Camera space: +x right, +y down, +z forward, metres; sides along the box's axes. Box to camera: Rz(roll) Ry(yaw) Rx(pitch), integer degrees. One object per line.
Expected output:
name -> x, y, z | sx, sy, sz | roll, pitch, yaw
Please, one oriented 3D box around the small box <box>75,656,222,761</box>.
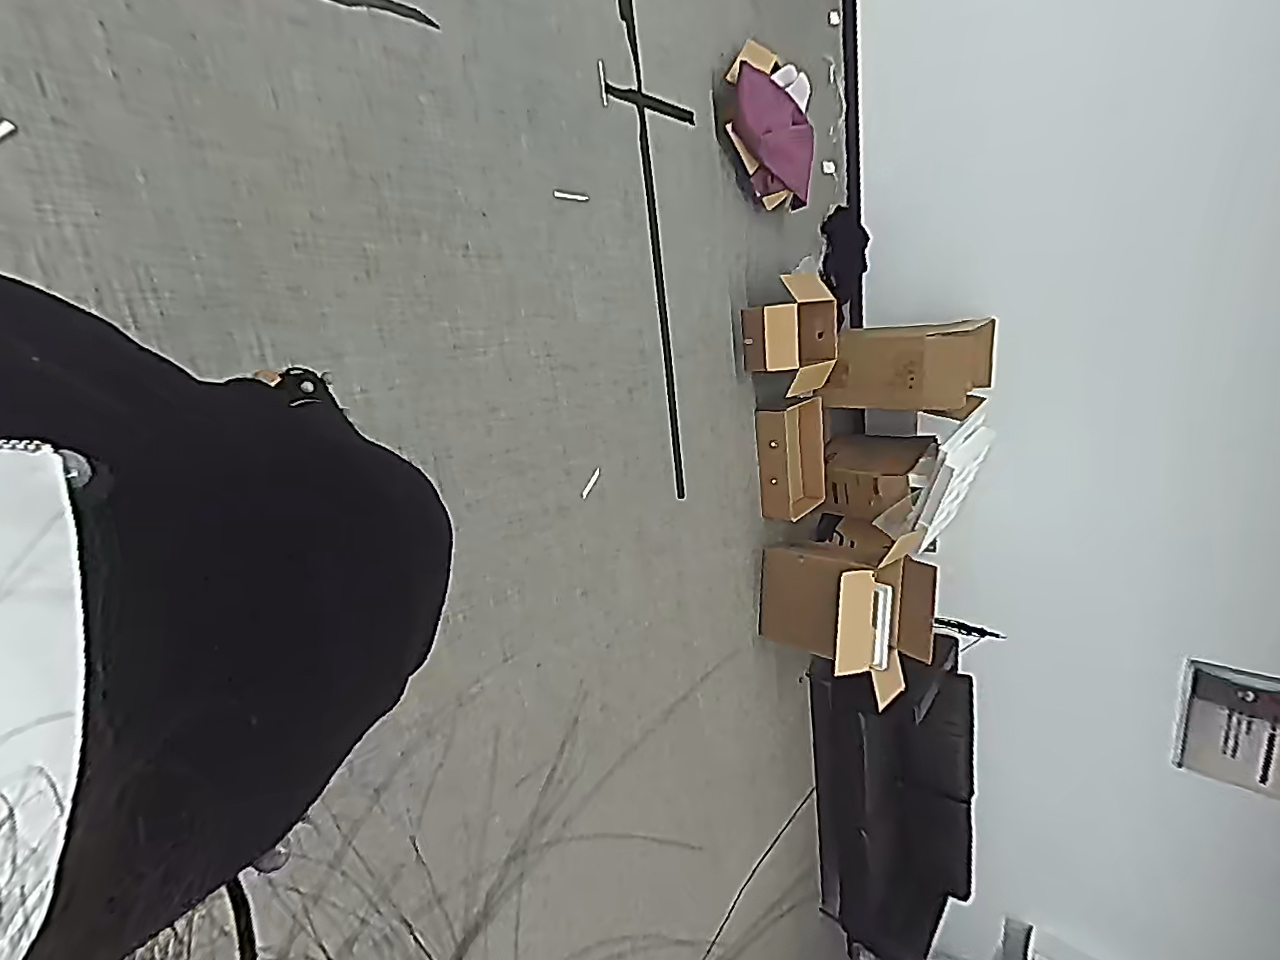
small box -> -0.941, 0.472, 1.041 | 0.168, 0.176, 0.179 | -22, 111, -42
